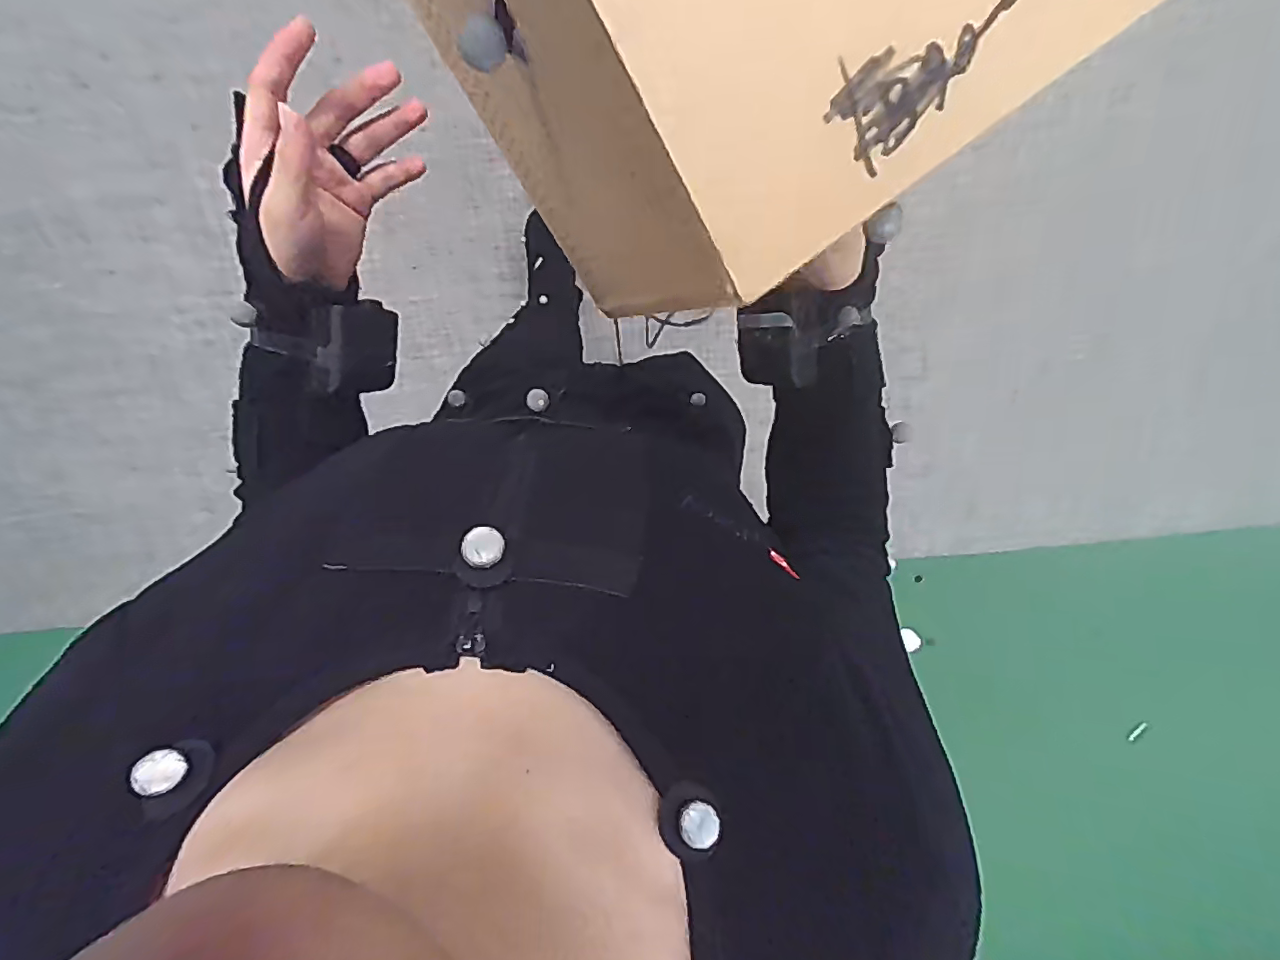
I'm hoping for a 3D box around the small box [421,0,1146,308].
[{"bbox_3d":[0.026,-0.185,0.206,0.168,0.176,0.179,-37,111,-4],"label":"small box"}]
